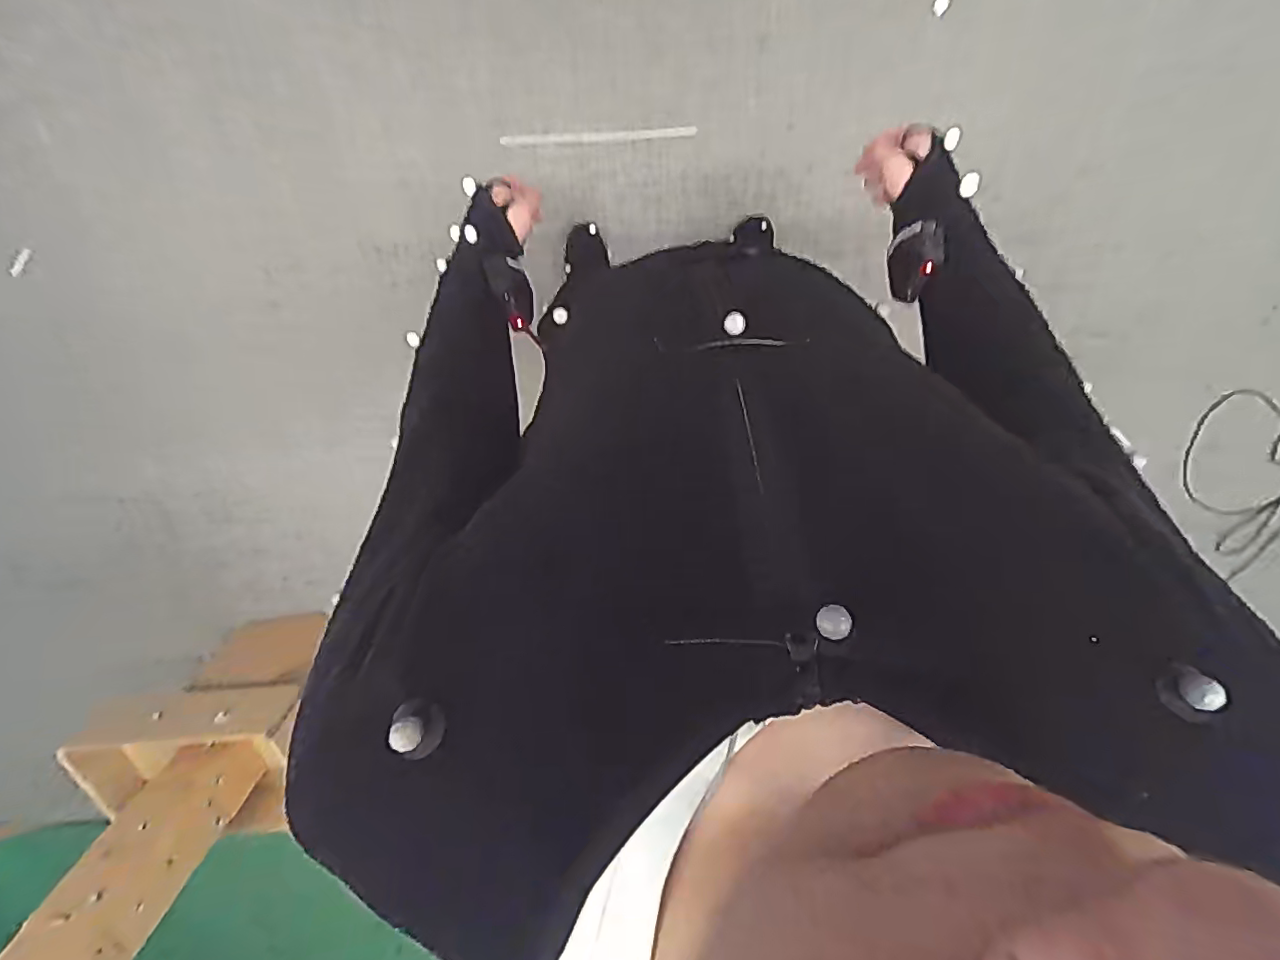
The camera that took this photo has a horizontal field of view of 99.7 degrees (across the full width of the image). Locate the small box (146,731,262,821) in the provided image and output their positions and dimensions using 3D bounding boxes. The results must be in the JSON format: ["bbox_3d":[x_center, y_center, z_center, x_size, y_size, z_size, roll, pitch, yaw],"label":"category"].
[{"bbox_3d":[-1.256,0.862,1.576,0.168,0.176,0.179,-5,116,4],"label":"small box"}]

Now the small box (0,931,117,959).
[{"bbox_3d":[-1.273,1.088,1.138,0.179,0.176,0.168,-5,117,4],"label":"small box"}]

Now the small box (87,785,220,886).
[{"bbox_3d":[-1.265,0.934,1.428,0.179,0.176,0.168,-4,116,4],"label":"small box"}]
